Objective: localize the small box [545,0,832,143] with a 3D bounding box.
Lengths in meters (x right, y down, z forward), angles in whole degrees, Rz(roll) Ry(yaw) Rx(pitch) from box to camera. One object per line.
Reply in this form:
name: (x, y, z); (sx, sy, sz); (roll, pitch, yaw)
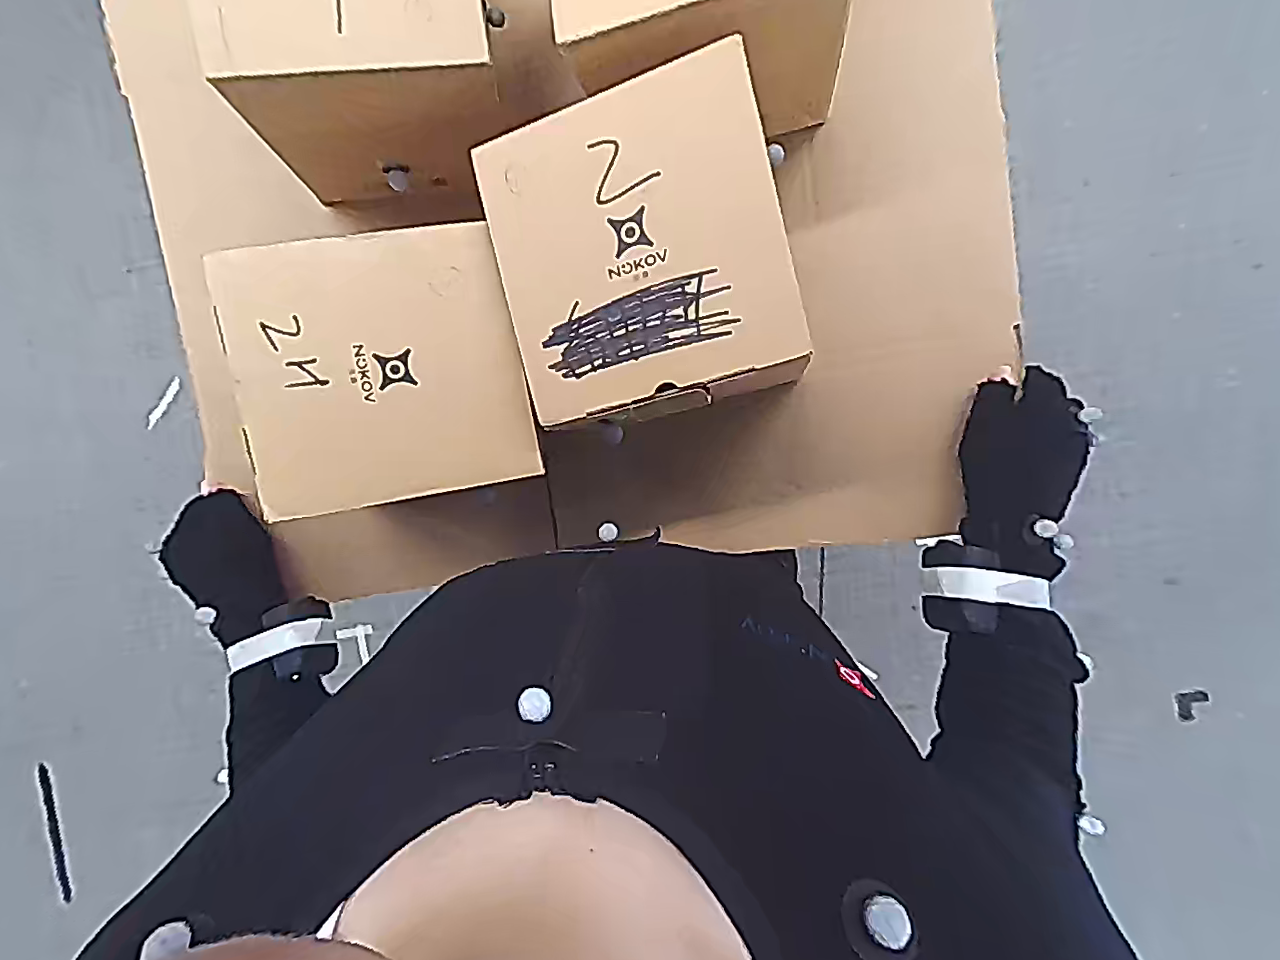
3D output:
small box: (0.035, -0.358, 0.358); (0.168, 0.176, 0.179); (-6, 94, 14)
